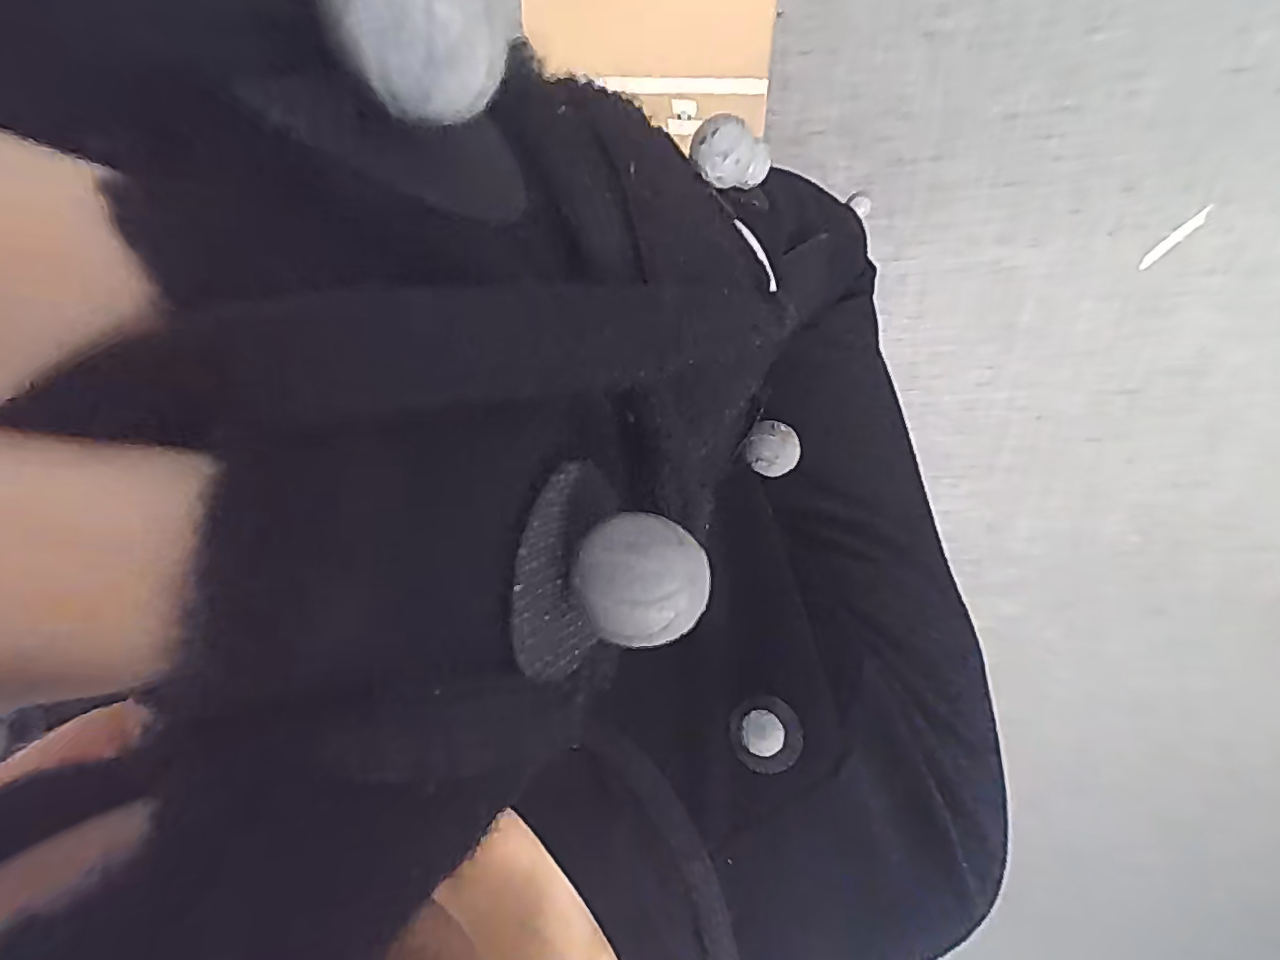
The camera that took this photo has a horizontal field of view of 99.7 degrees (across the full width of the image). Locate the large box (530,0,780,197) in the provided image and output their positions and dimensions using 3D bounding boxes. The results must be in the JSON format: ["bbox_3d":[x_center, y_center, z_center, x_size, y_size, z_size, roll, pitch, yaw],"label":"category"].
[{"bbox_3d":[0.021,-0.727,1.044,0.408,0.320,0.320,2,117,0],"label":"large box"}]
